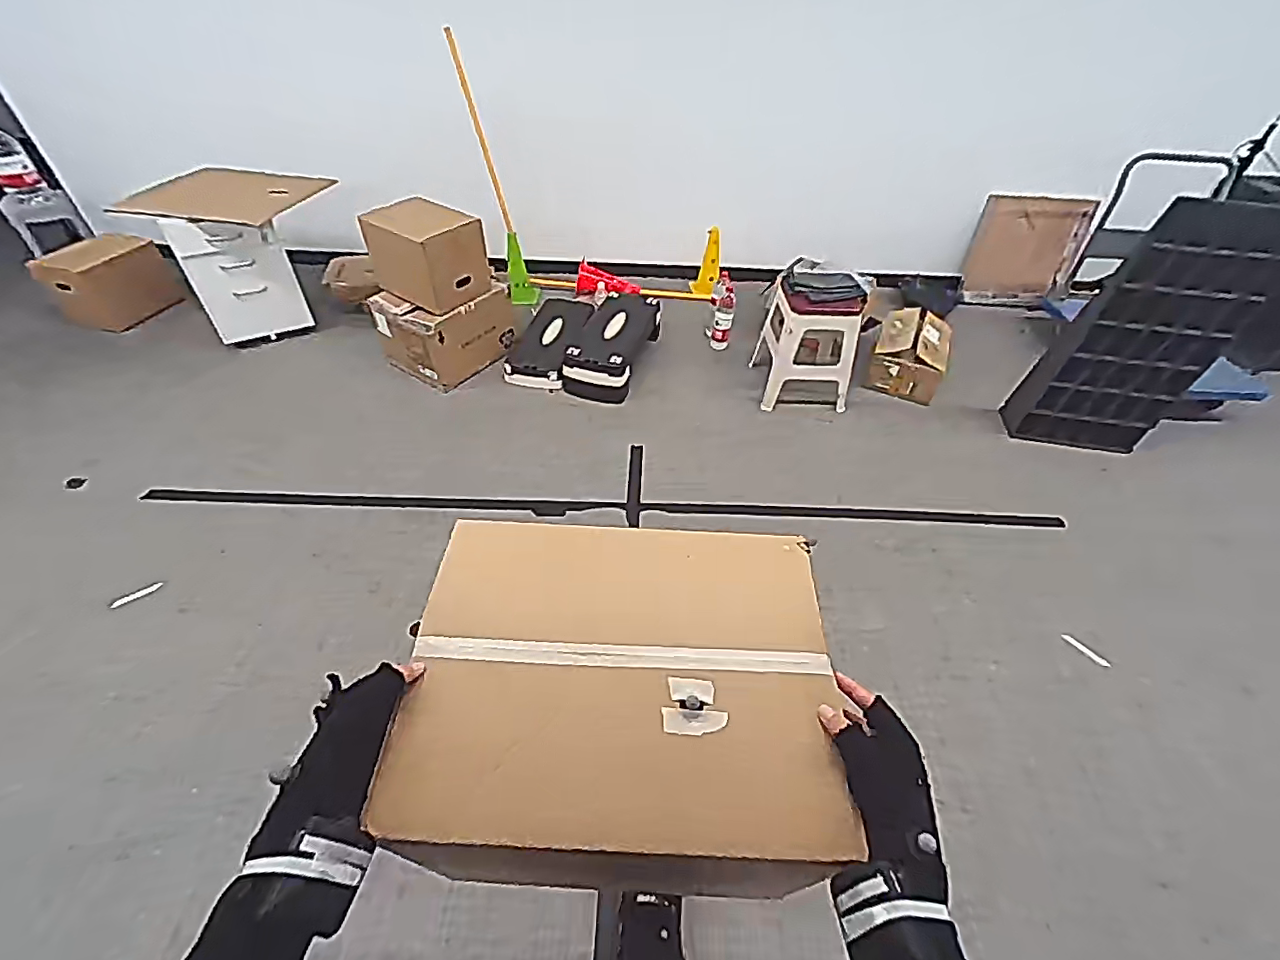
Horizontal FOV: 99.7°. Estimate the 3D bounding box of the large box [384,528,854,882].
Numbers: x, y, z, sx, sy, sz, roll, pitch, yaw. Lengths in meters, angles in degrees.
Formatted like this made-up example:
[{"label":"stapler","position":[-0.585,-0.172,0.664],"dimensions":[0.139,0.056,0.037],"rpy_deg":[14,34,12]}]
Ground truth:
[{"label":"large box","position":[-0.020,0.278,0.658],"dimensions":[0.408,0.320,0.320],"rpy_deg":[3,49,0]}]
